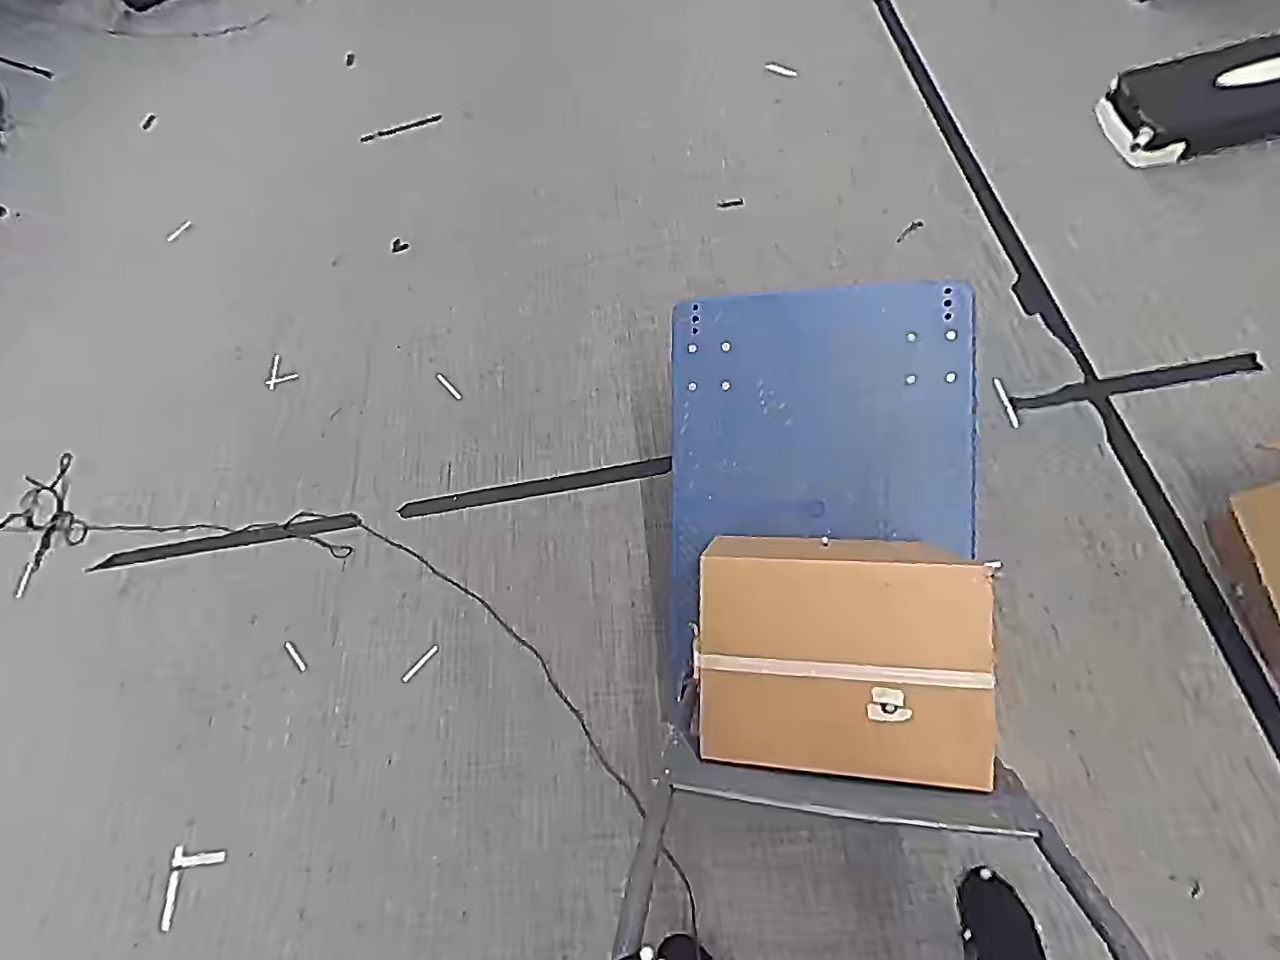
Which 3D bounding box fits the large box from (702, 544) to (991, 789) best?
[{"bbox_3d":[0.320,0.280,0.935,0.408,0.320,0.320,1,91,12],"label":"large box"}]
